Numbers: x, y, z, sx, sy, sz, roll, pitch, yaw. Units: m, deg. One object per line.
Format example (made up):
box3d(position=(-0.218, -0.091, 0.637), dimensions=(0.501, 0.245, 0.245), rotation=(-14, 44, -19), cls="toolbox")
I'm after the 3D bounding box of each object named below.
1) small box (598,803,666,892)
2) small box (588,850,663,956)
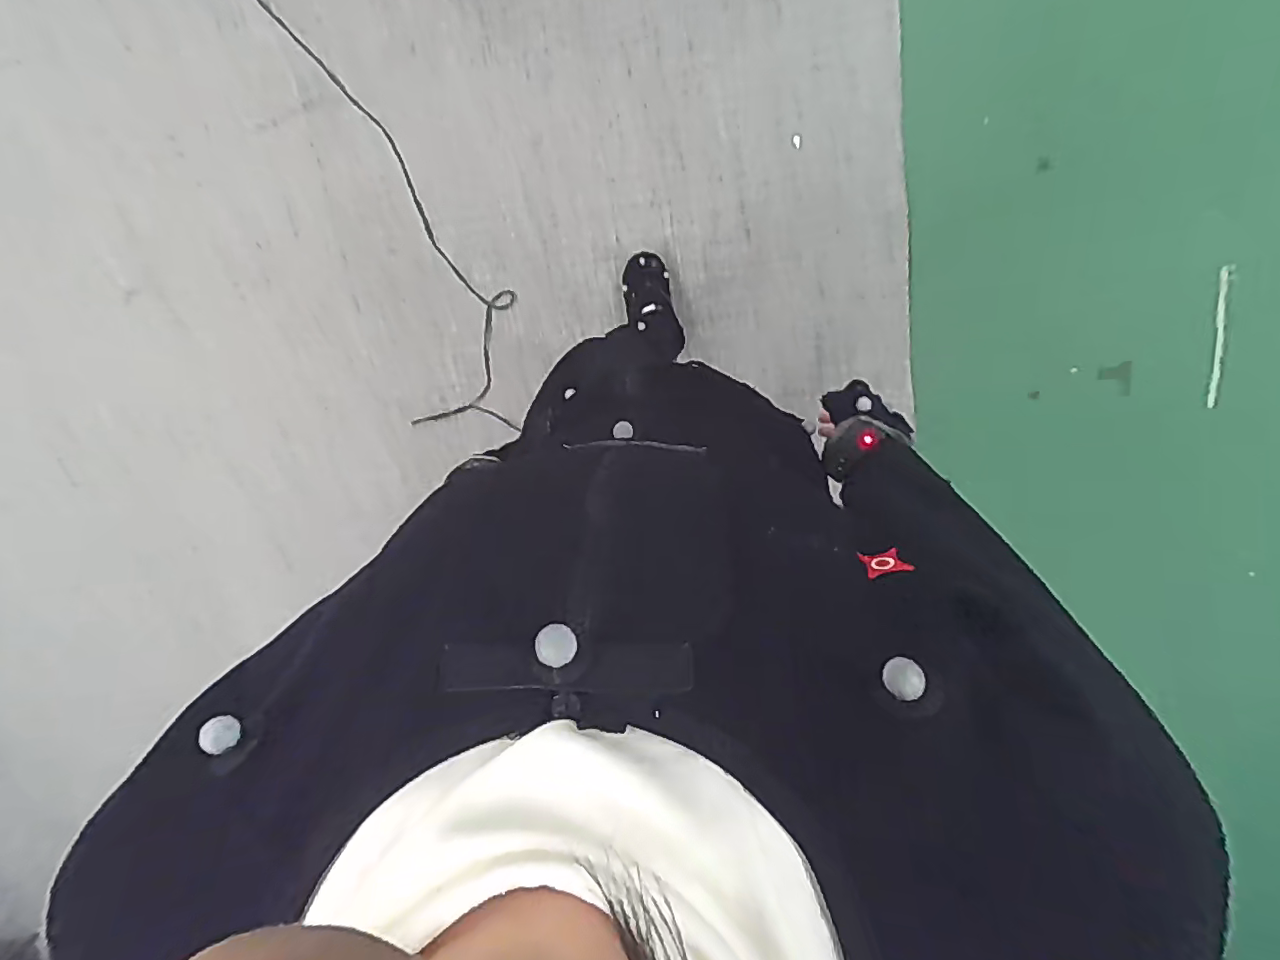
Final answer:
box3d(position=(-0.018, 1.130, 1.663), dimensions=(0.179, 0.176, 0.168), rotation=(-8, 105, 6), cls="small box")
box3d(position=(-0.035, 1.168, 1.504), dimensions=(0.179, 0.176, 0.168), rotation=(-4, 105, 7), cls="small box")
